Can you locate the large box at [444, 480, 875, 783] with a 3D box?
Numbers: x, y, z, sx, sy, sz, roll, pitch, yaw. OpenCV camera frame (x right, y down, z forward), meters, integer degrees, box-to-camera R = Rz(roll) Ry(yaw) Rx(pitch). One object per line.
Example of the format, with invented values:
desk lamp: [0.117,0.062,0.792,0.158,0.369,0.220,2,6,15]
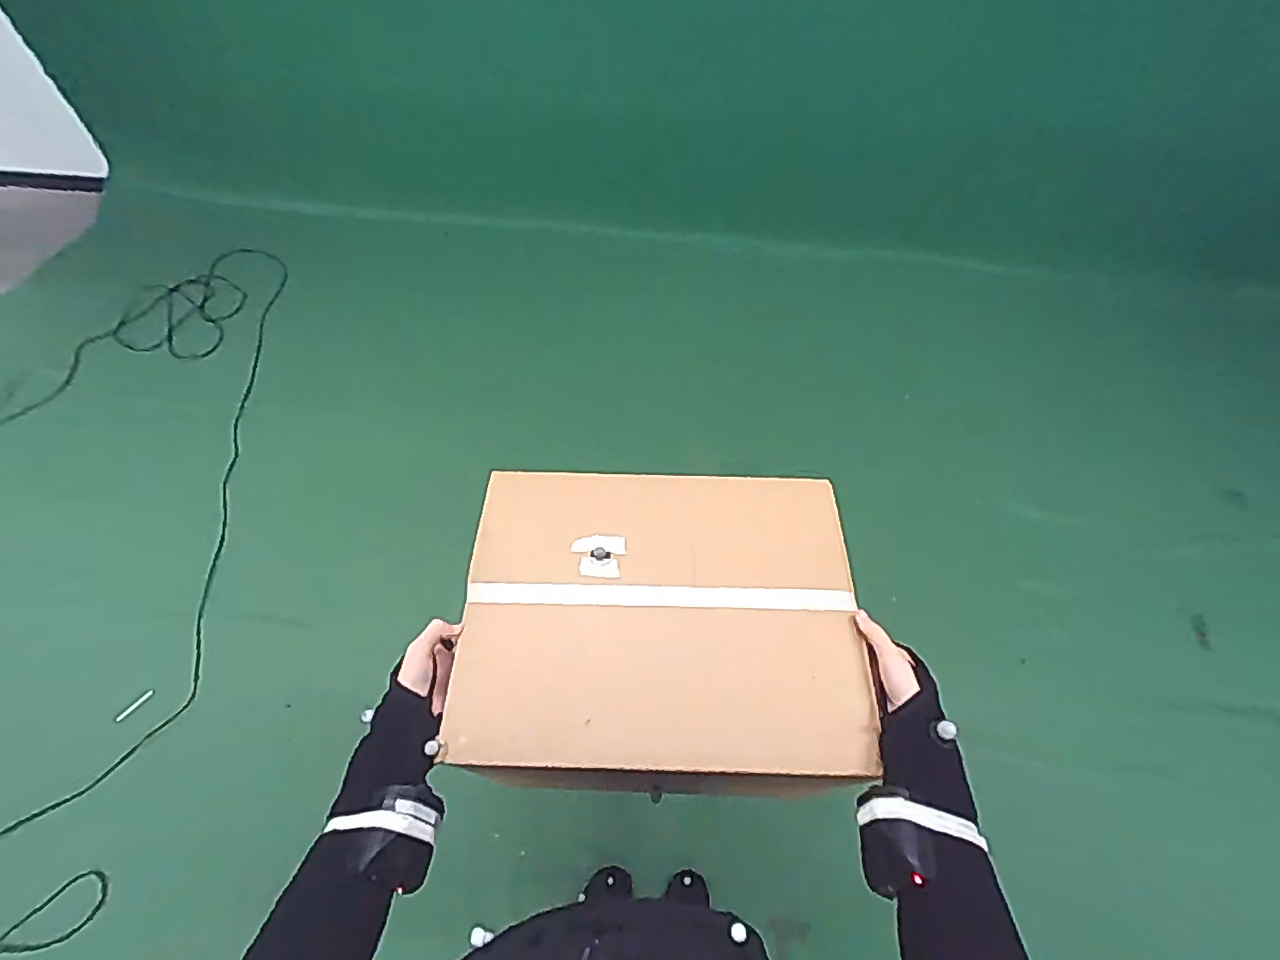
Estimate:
large box: [0.022,0.209,0.698,0.408,0.320,0.320,1,56,1]
